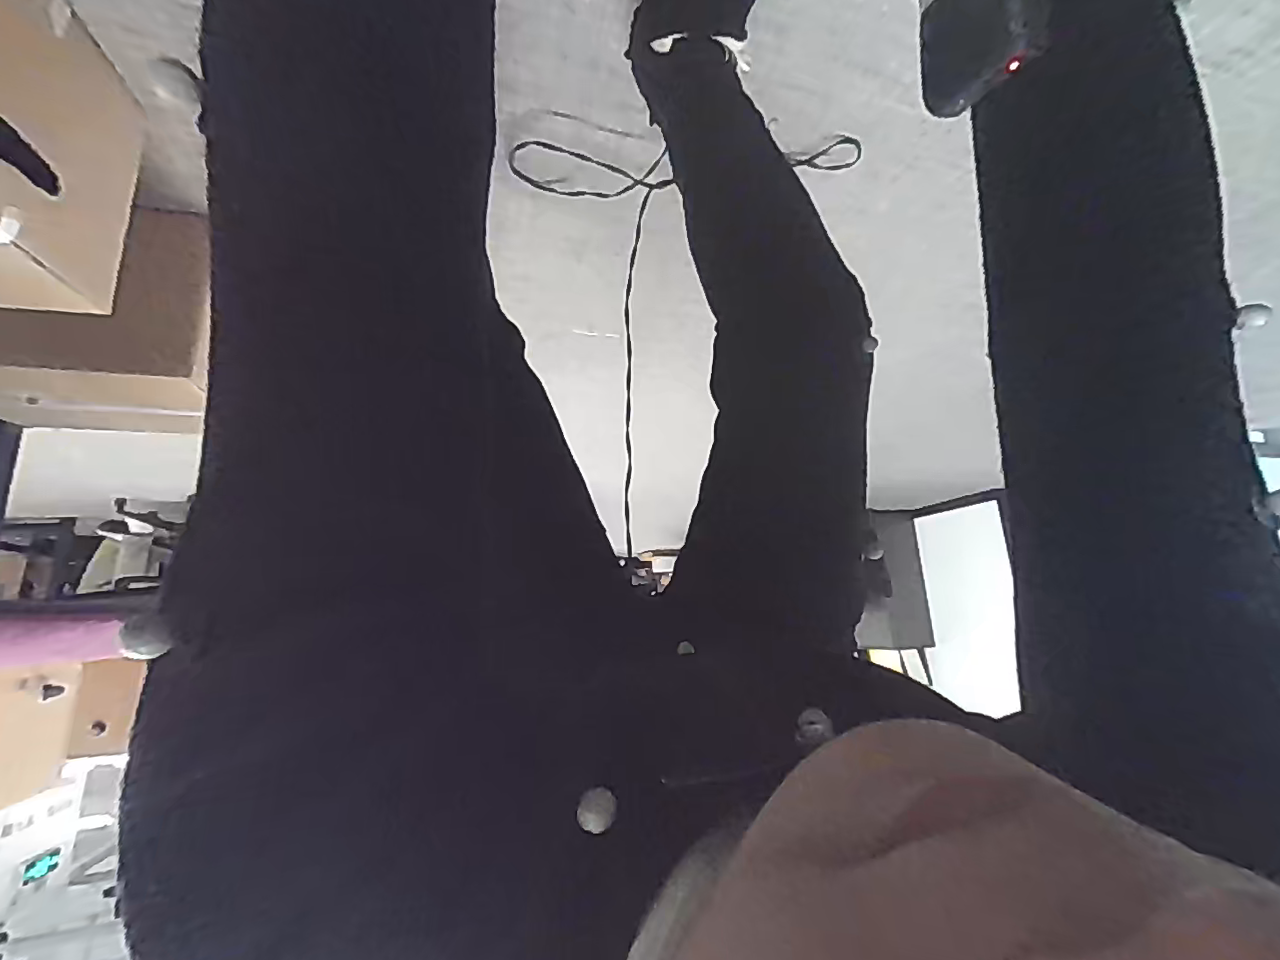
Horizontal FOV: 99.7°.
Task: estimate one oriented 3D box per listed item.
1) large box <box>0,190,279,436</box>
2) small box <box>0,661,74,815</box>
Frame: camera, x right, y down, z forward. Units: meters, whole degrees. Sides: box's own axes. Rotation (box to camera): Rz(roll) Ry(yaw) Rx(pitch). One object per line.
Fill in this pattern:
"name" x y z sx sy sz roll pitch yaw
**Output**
"large box" -0.961 -0.282 0.994 0.408 0.320 0.320 3 165 -15
"small box" -0.818 0.301 0.616 0.179 0.176 0.168 3 166 -17
